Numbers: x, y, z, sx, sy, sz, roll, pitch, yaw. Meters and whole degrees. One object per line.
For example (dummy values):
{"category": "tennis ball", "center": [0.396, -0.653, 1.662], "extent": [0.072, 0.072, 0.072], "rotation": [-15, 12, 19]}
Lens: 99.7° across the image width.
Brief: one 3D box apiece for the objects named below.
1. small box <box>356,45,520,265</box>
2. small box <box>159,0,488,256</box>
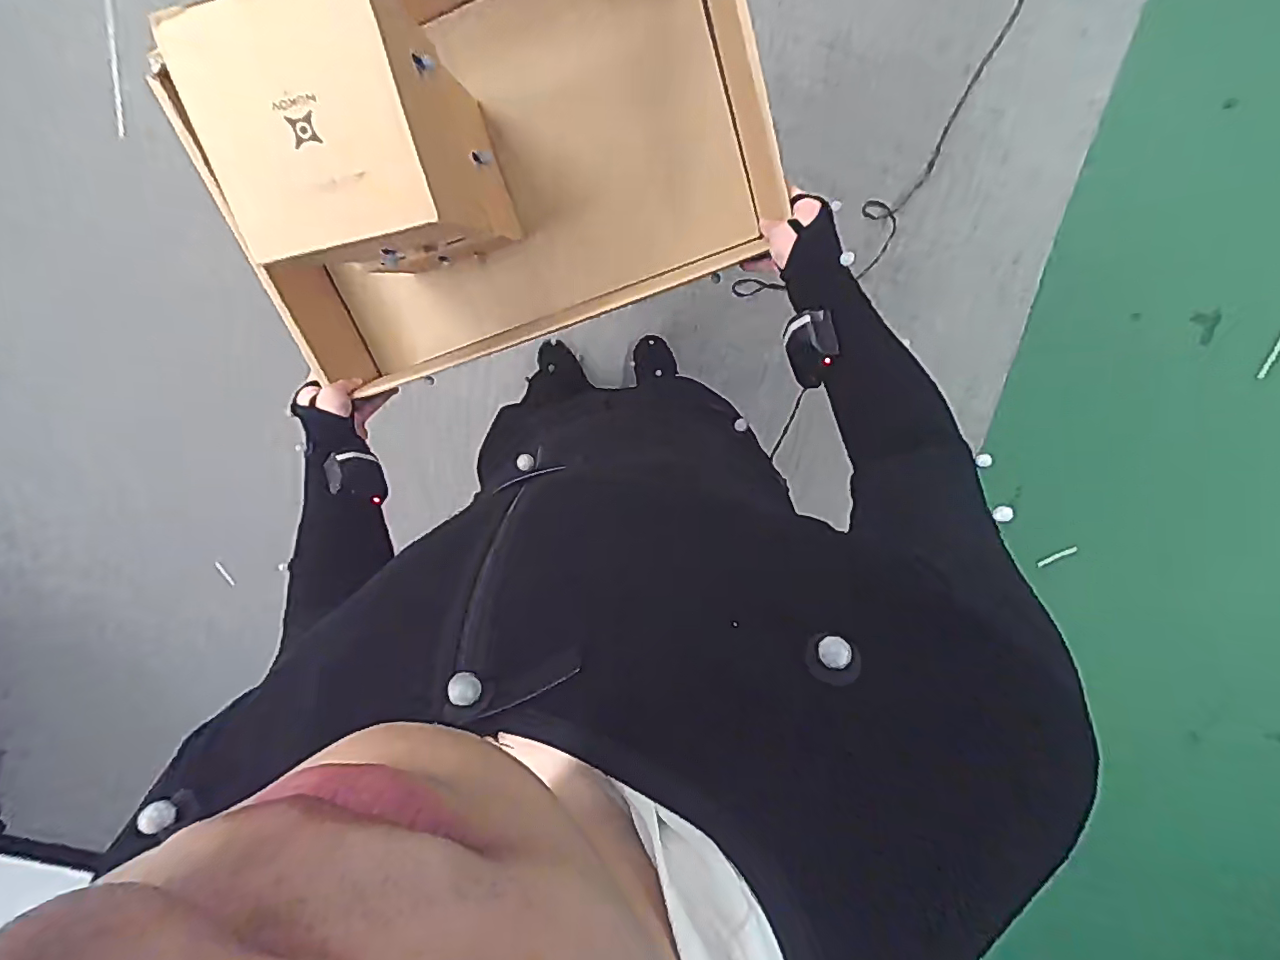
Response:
{"category": "small box", "center": [-0.258, -0.366, 0.646], "extent": [0.168, 0.176, 0.179], "rotation": [-14, 112, 4]}
{"category": "small box", "center": [-0.256, -0.312, 0.491], "extent": [0.168, 0.176, 0.179], "rotation": [-10, 112, 4]}
